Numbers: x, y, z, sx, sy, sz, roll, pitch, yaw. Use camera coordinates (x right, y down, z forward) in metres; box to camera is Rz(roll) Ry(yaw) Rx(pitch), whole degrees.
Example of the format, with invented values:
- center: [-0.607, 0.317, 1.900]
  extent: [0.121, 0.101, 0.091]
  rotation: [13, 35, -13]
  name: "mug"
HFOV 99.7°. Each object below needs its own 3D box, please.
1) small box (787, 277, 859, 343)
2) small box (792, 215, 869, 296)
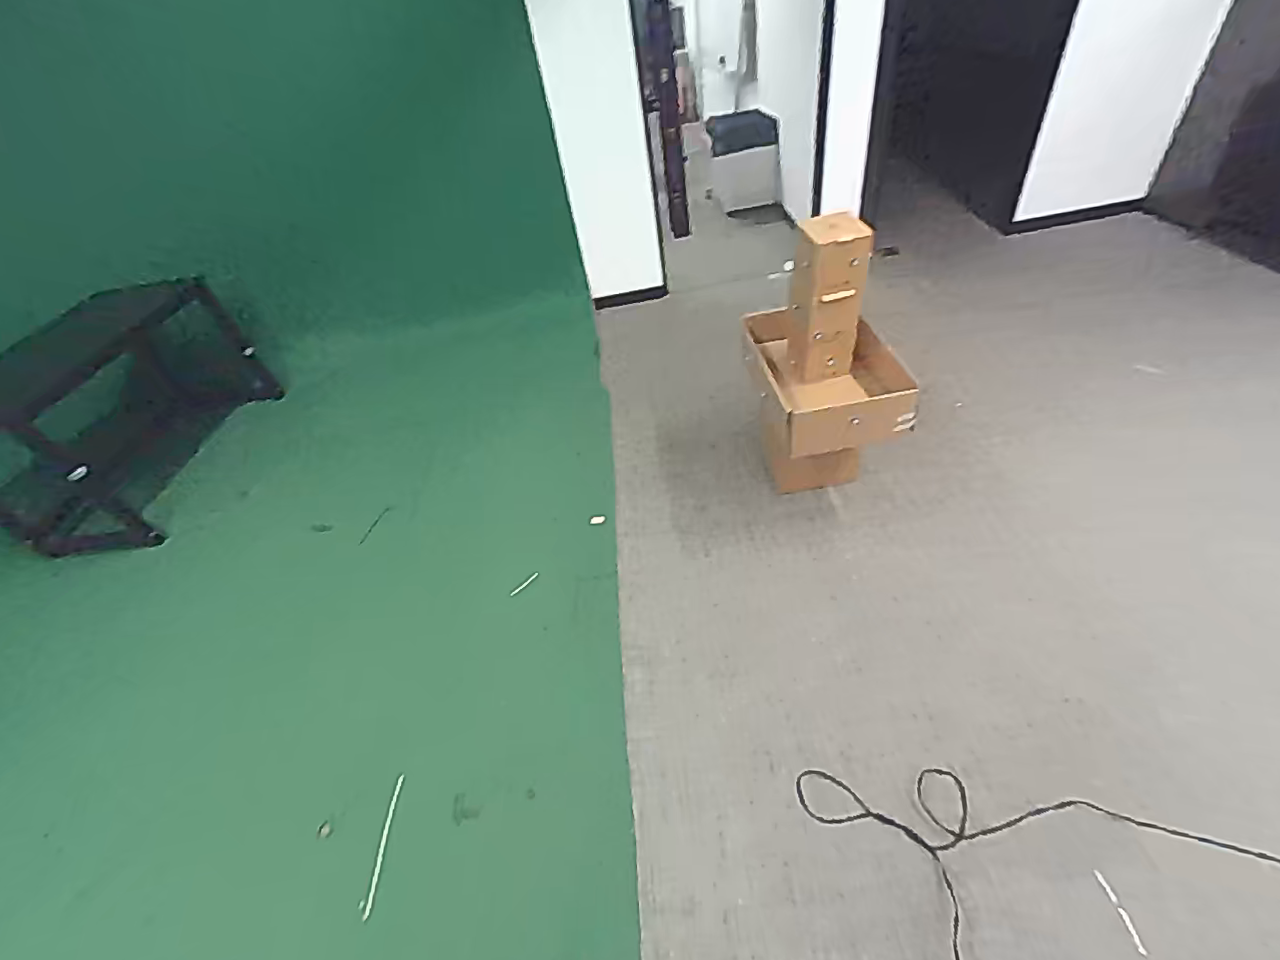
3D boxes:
- center: [0.588, -0.561, 1.759]
  extent: [0.168, 0.176, 0.179]
  rotation: [-14, 45, -2]
  name: "small box"
- center: [0.572, -0.673, 1.642]
  extent: [0.168, 0.176, 0.179]
  rotation: [-11, 46, 0]
  name: "small box"
